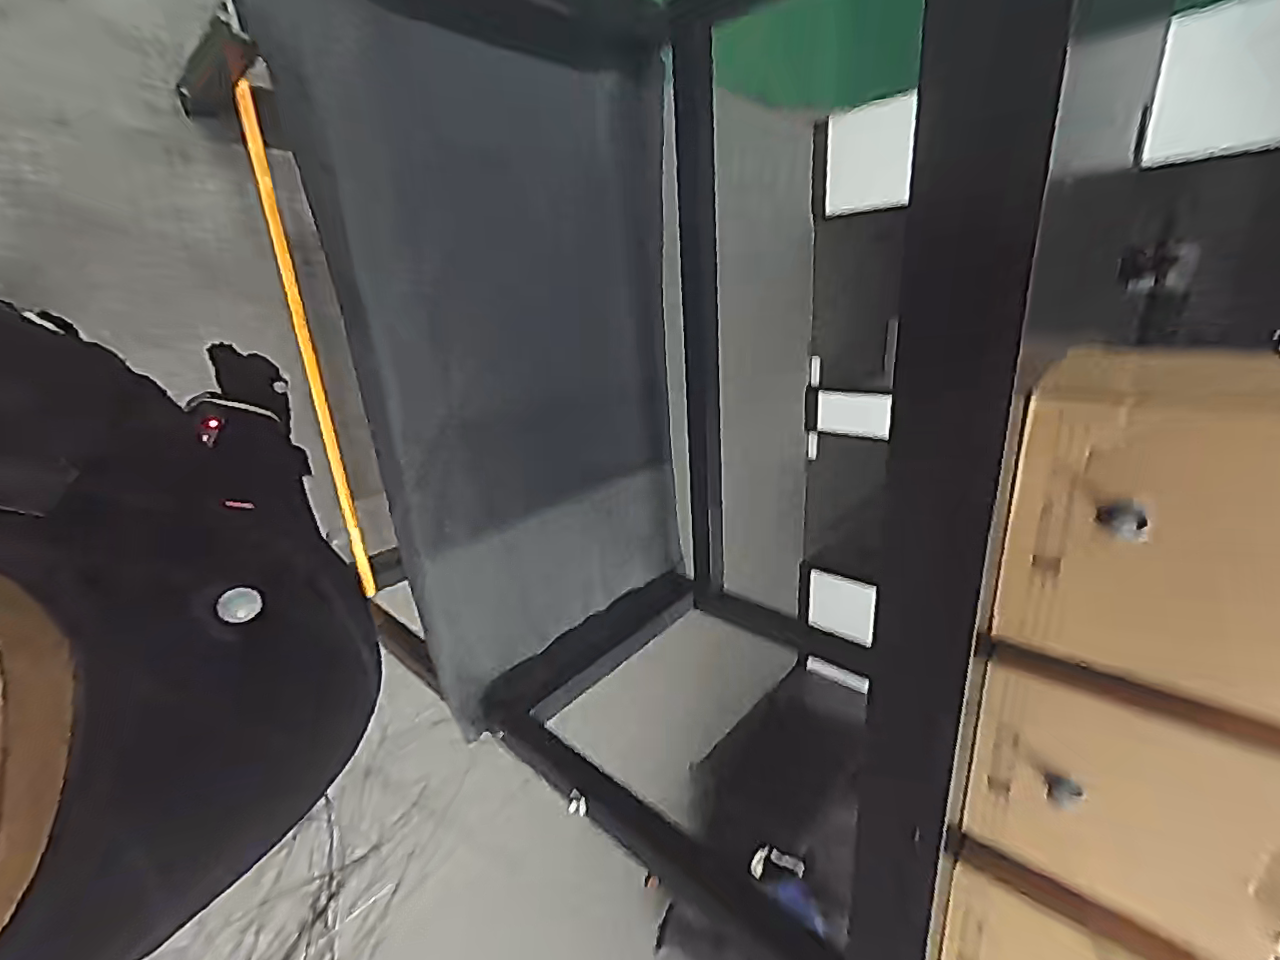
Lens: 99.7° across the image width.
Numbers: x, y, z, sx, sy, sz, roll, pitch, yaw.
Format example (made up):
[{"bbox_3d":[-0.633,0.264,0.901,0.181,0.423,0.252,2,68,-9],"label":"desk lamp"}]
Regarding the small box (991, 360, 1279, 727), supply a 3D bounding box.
[{"bbox_3d":[0.349,0.019,0.343,0.179,0.176,0.168,-23,117,-43],"label":"small box"}]
